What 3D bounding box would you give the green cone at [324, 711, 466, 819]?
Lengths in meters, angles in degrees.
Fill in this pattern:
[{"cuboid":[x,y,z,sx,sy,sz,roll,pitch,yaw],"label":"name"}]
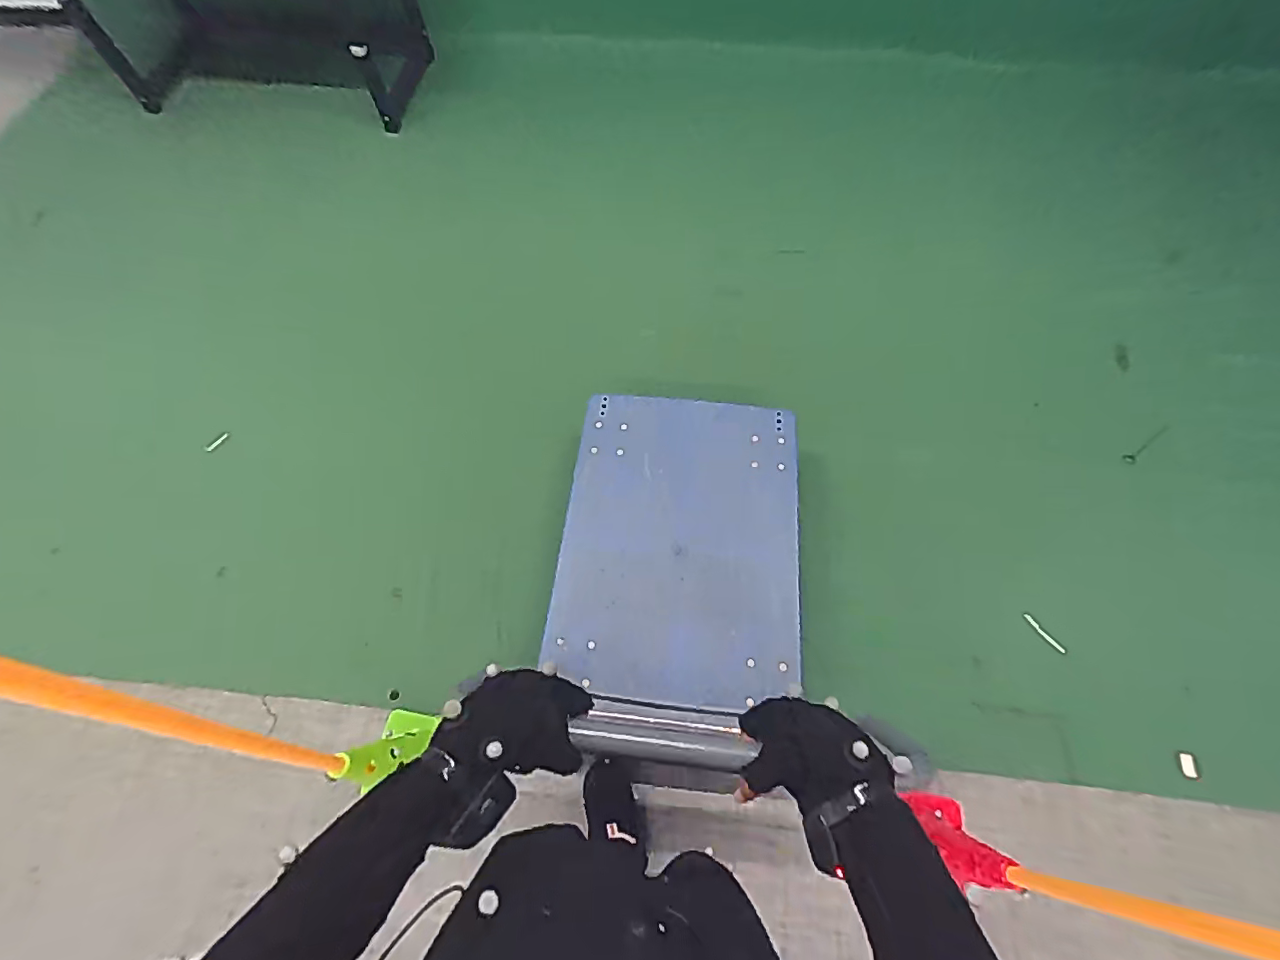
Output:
[{"cuboid":[-0.529,0.581,1.113,0.202,0.368,0.200,9,63,6],"label":"green cone"}]
